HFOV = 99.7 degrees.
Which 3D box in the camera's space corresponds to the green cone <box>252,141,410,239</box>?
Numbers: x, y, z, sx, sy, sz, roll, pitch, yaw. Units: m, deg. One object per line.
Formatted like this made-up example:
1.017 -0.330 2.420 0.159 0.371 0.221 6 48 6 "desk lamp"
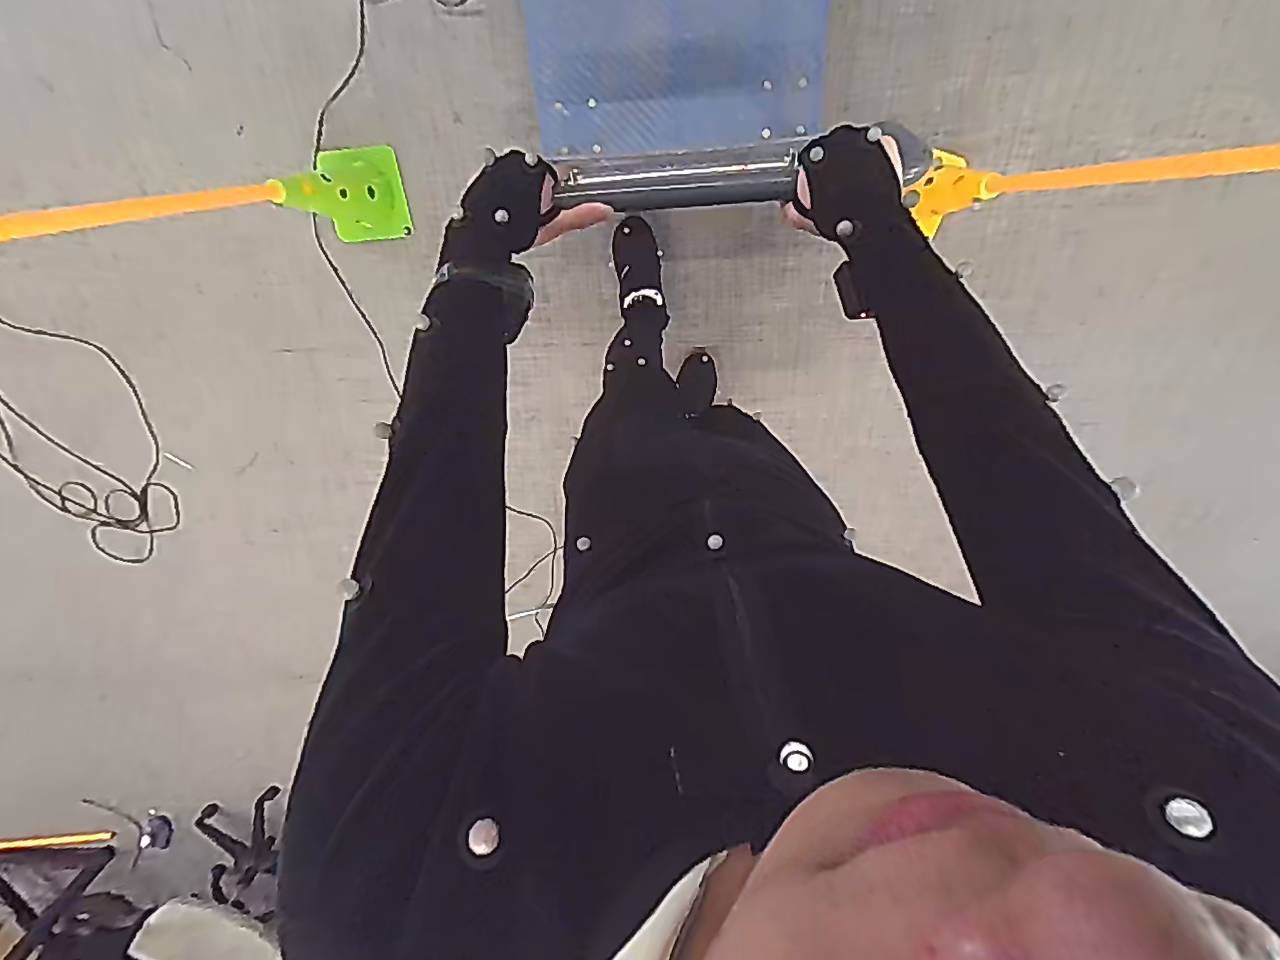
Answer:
-0.687 -0.629 1.167 0.202 0.368 0.200 -3 116 6 "green cone"
